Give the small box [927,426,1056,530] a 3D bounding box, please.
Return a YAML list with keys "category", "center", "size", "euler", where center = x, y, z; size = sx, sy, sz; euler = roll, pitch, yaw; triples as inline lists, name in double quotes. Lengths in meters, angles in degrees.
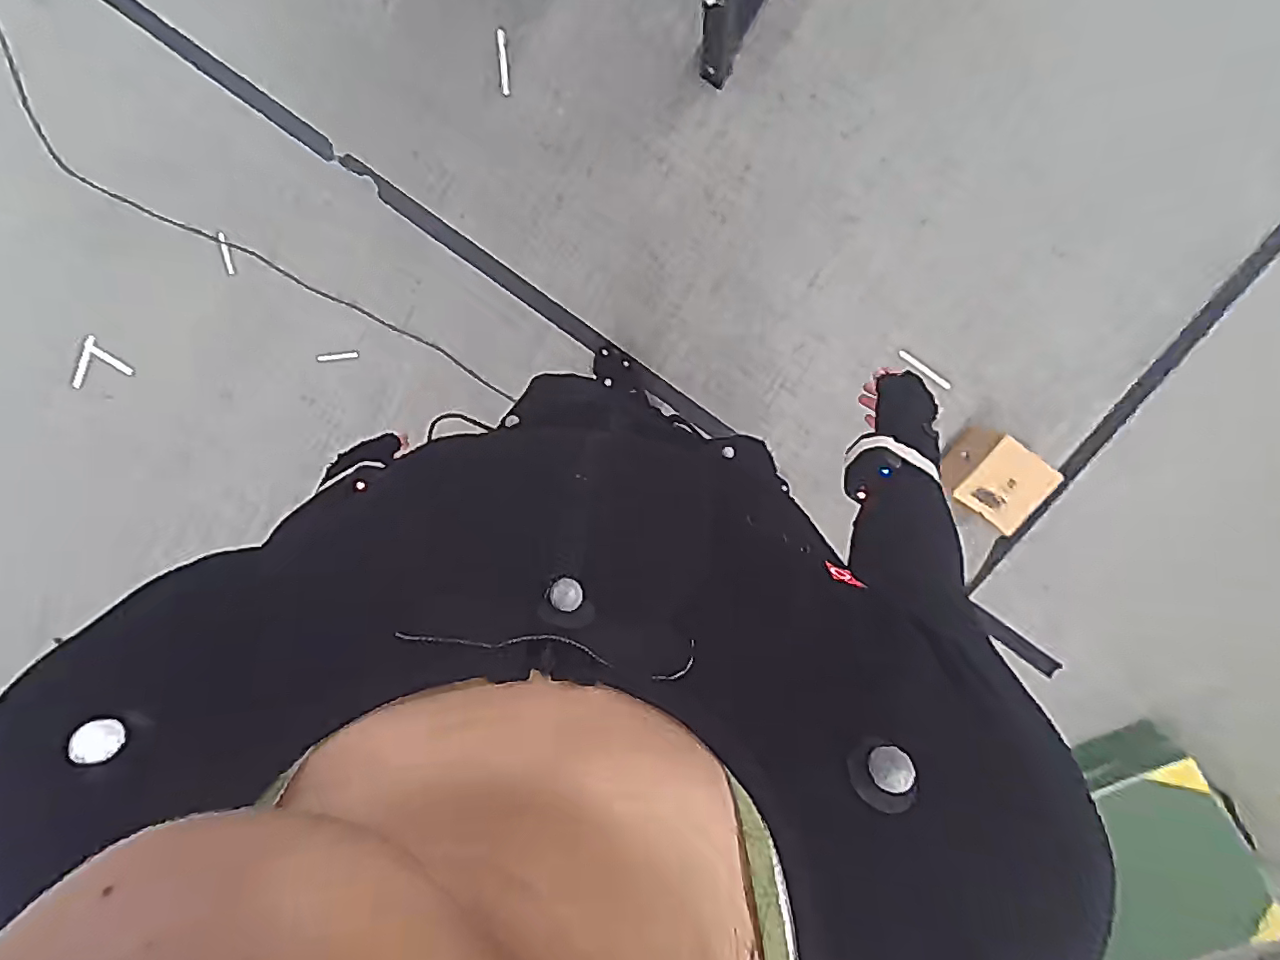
- category: "small box"
  center: [0.835, -0.012, 1.313]
  size: [0.168, 0.176, 0.179]
  euler: [37, 103, -3]
